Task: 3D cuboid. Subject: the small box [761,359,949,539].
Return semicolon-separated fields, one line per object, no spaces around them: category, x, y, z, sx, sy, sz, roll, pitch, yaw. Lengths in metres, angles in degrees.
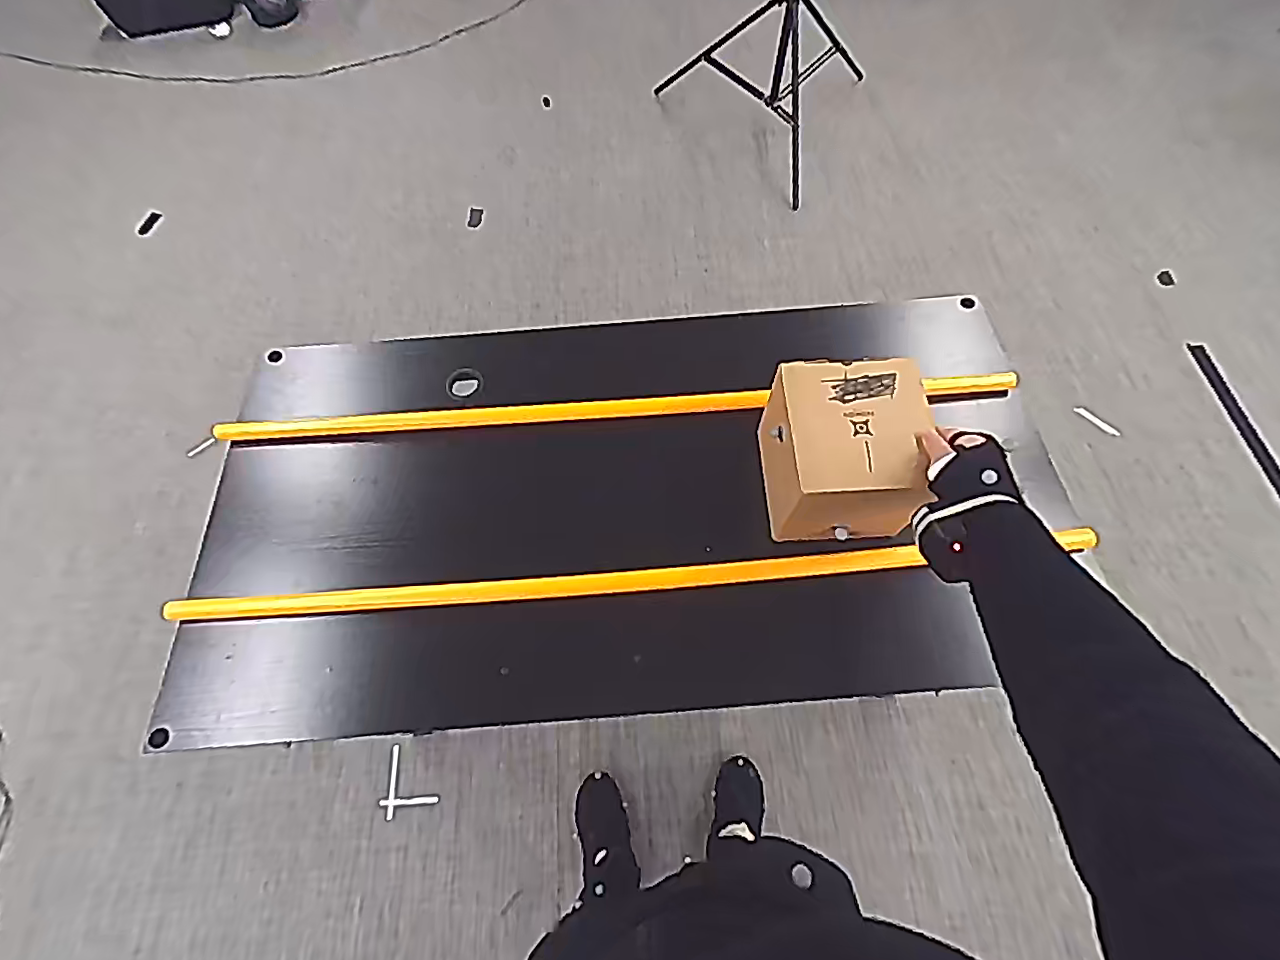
small box;0.259;-0.034;0.699;0.168;0.176;0.179;-2;66;2
